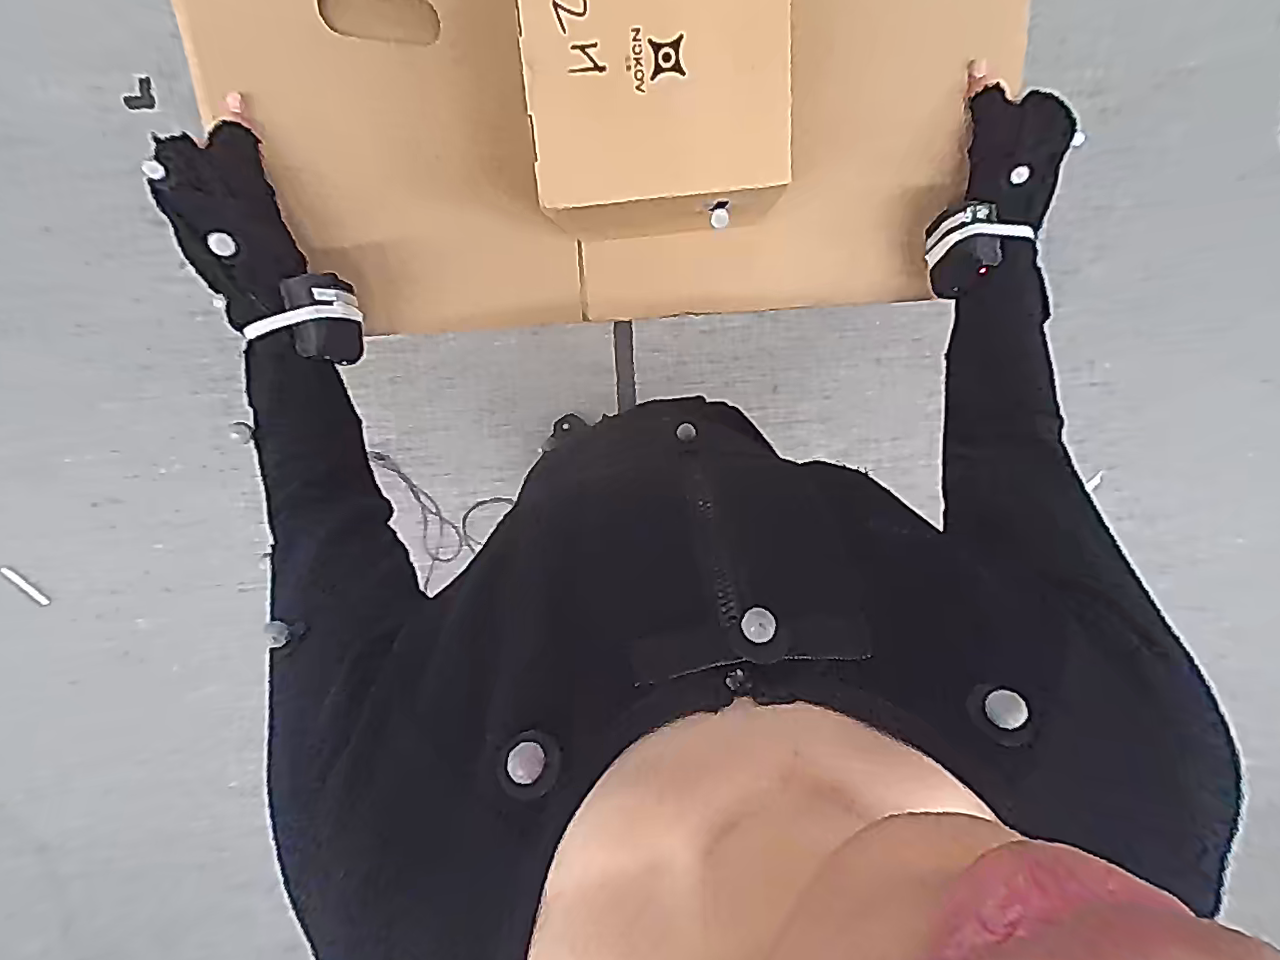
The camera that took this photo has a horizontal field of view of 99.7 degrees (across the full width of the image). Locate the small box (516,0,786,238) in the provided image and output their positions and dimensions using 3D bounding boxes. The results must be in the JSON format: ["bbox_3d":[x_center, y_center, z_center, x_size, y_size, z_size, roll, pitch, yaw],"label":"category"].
[{"bbox_3d":[0.014,-0.300,0.434,0.179,0.176,0.168,-3,106,7],"label":"small box"}]
